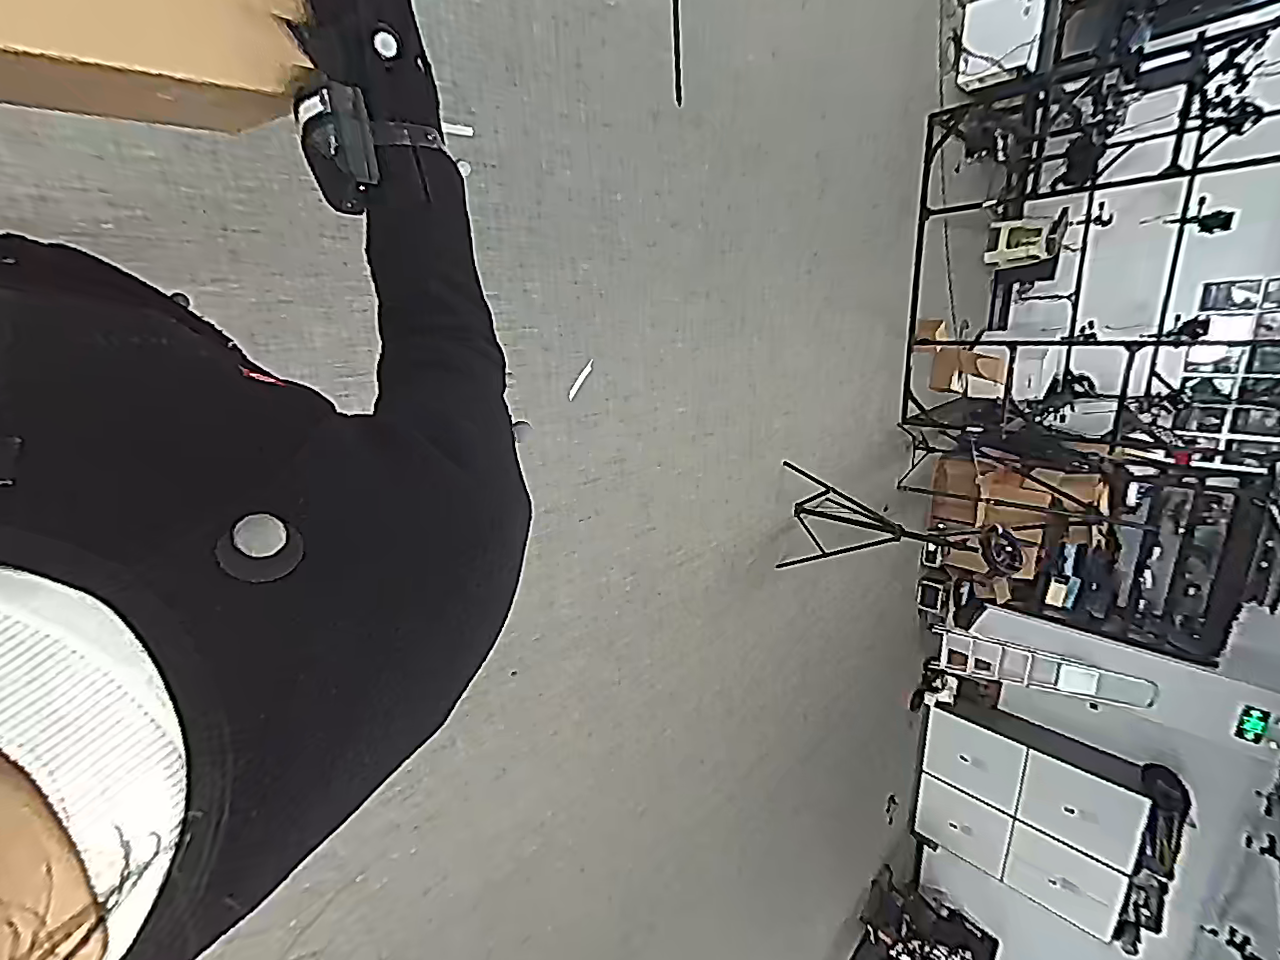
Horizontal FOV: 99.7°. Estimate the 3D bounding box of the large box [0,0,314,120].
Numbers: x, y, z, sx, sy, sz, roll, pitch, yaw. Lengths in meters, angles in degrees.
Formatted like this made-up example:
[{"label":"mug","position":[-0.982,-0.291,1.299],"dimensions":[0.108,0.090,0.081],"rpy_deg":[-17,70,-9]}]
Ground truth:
[{"label":"large box","position":[-0.460,-0.402,0.274],"dimensions":[0.408,0.320,0.320],"rpy_deg":[-19,125,-39]}]
